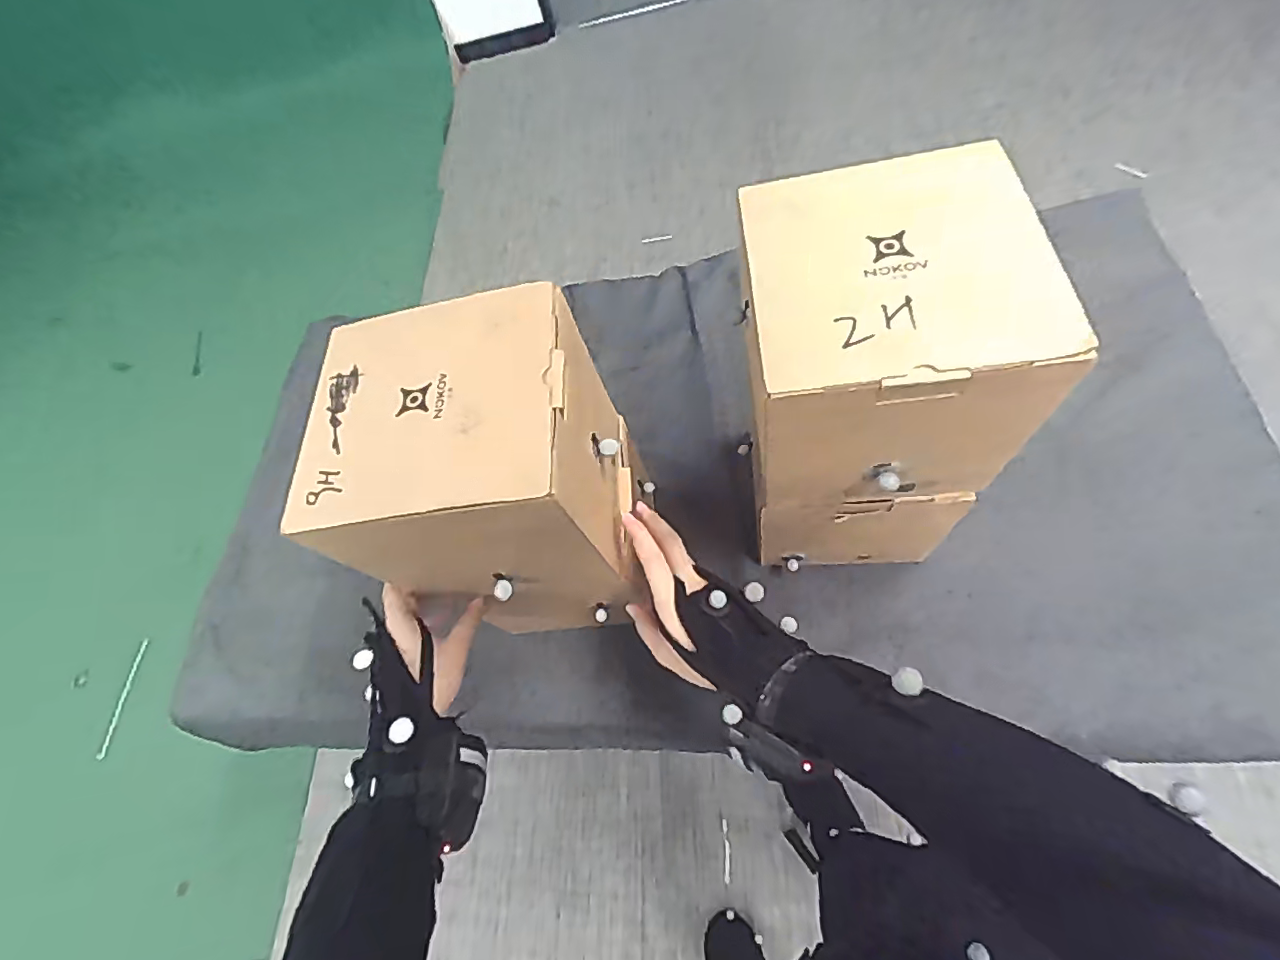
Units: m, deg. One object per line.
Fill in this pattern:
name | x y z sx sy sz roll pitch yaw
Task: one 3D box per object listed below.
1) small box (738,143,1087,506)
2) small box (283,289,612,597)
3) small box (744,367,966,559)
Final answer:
small box | 0.162 -0.097 0.393 0.168 0.176 0.179 -6 64 11
small box | -0.120 -0.014 0.420 0.179 0.176 0.168 -8 63 9
small box | 0.193 -0.024 0.537 0.168 0.176 0.179 -3 63 11
